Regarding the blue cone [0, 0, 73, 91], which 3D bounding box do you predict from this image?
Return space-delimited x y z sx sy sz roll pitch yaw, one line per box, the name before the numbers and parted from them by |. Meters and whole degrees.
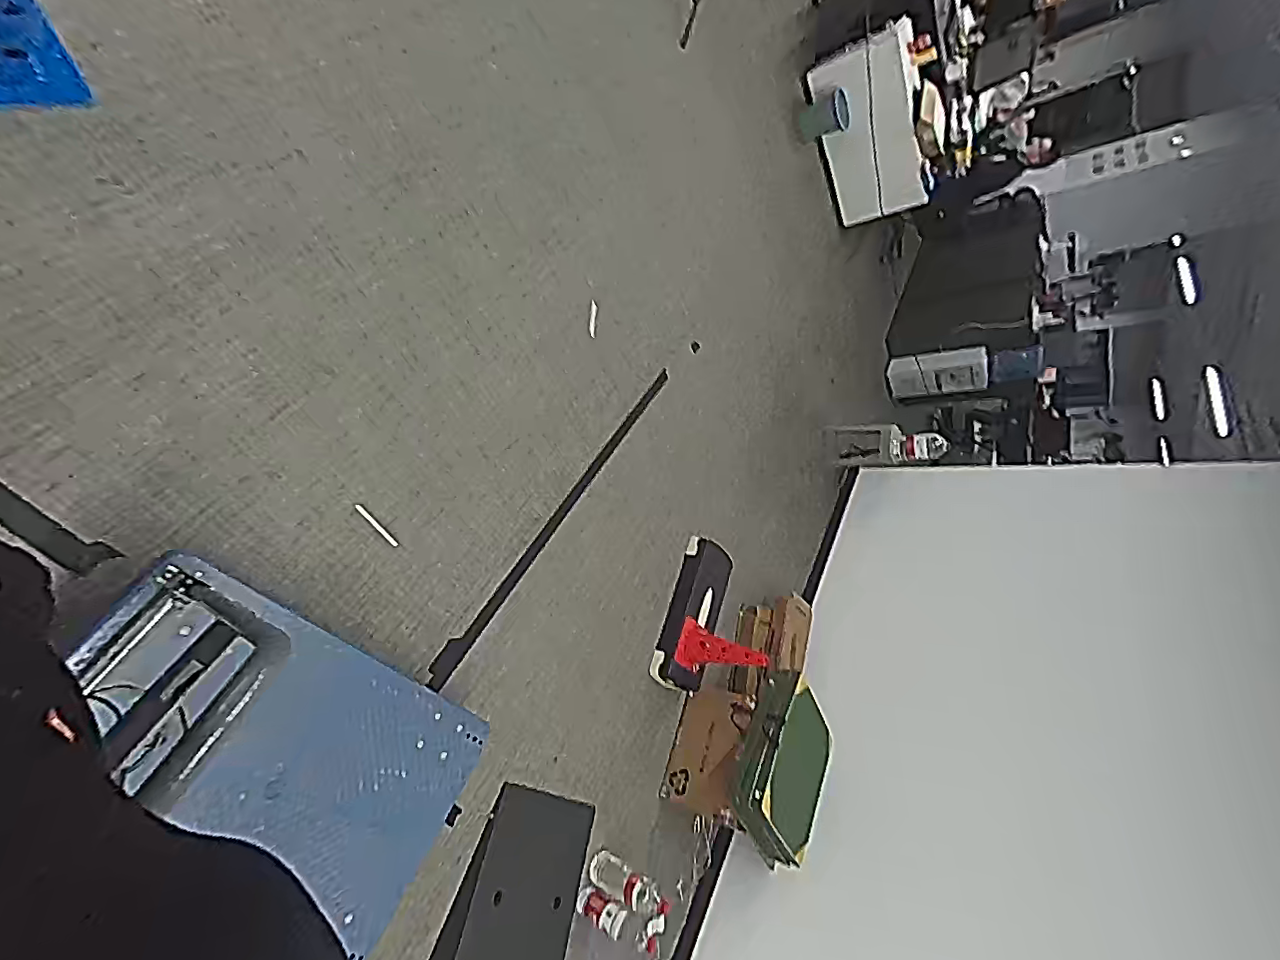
blue cone | -0.964 -0.749 0.780 0.193 0.380 0.192 -39 118 -43
